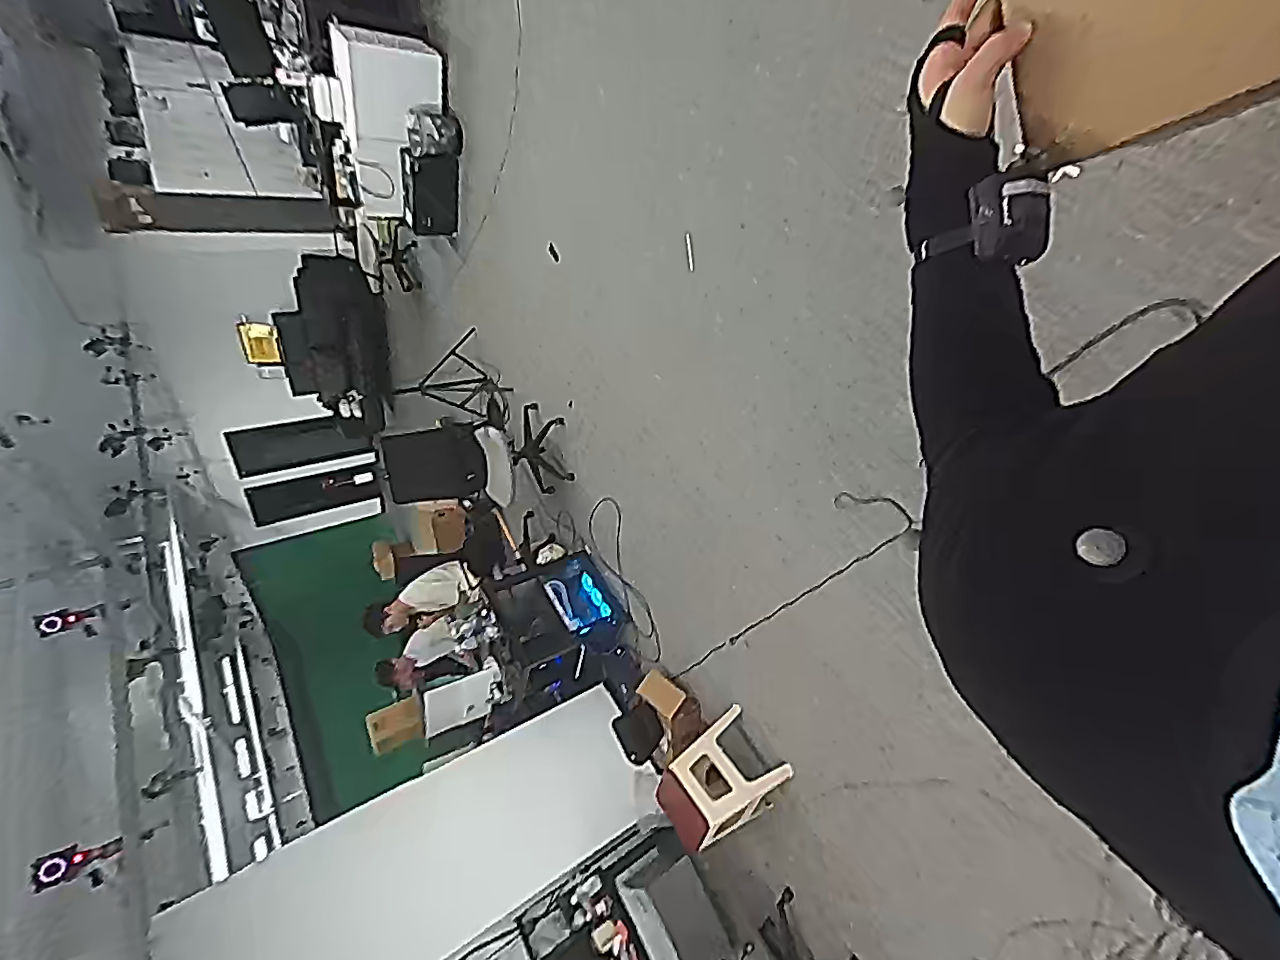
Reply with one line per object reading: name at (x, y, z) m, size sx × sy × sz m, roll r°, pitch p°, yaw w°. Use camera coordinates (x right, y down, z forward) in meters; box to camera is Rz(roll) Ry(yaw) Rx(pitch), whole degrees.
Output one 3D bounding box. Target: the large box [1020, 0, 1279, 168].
large box at (0.496, -0.447, 0.300) m, size 0.408 × 0.320 × 0.320 m, roll 0°, pitch 112°, yaw 59°
